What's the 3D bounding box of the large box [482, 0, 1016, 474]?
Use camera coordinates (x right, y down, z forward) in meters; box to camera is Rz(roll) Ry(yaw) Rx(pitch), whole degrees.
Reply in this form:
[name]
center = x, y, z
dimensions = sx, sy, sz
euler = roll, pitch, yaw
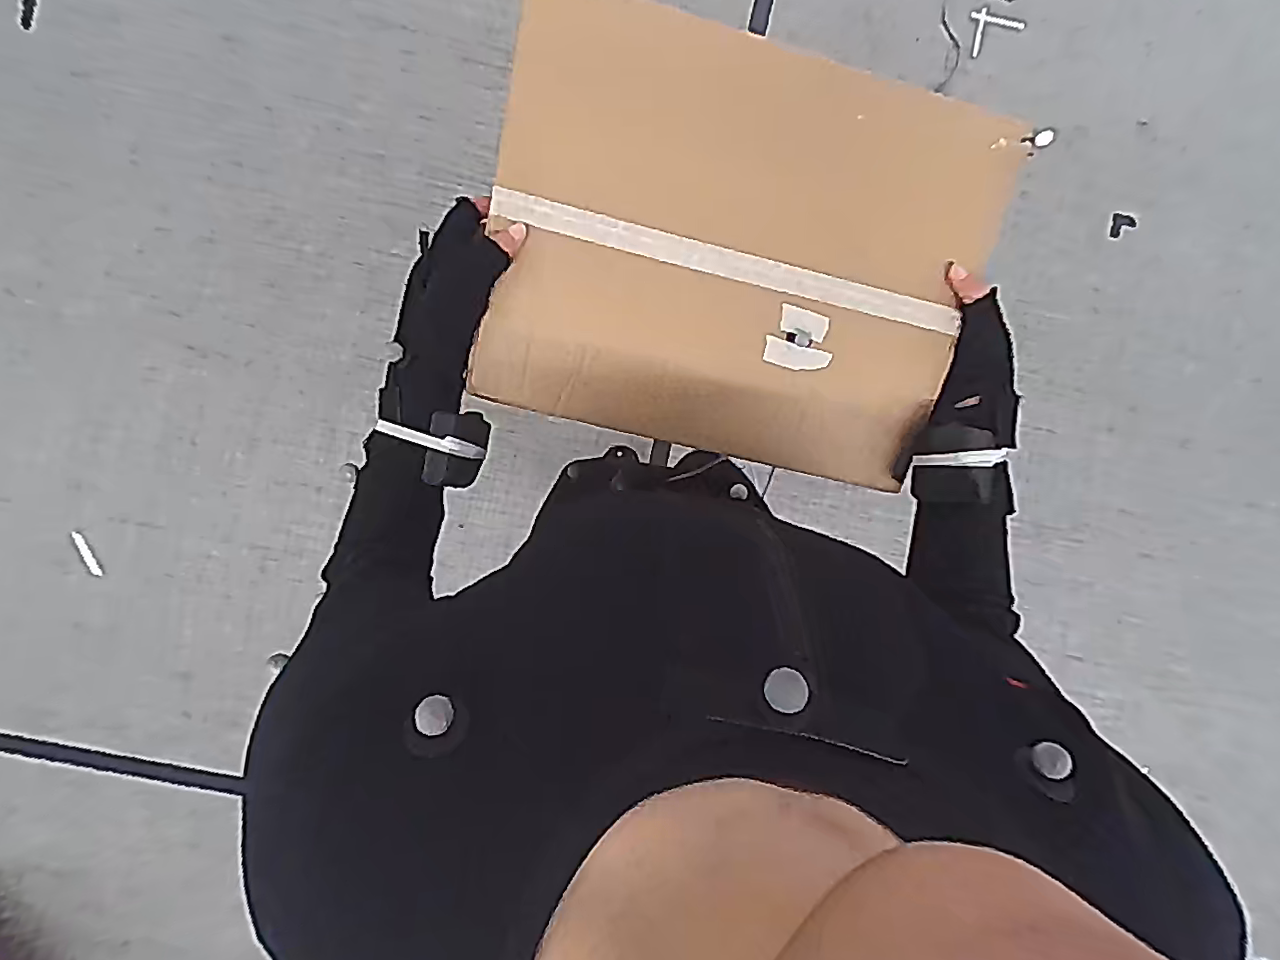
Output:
[large box]
center = 0.074, -0.228, 0.601
dimensions = 0.408, 0.320, 0.320
euler = 12, 107, -7
